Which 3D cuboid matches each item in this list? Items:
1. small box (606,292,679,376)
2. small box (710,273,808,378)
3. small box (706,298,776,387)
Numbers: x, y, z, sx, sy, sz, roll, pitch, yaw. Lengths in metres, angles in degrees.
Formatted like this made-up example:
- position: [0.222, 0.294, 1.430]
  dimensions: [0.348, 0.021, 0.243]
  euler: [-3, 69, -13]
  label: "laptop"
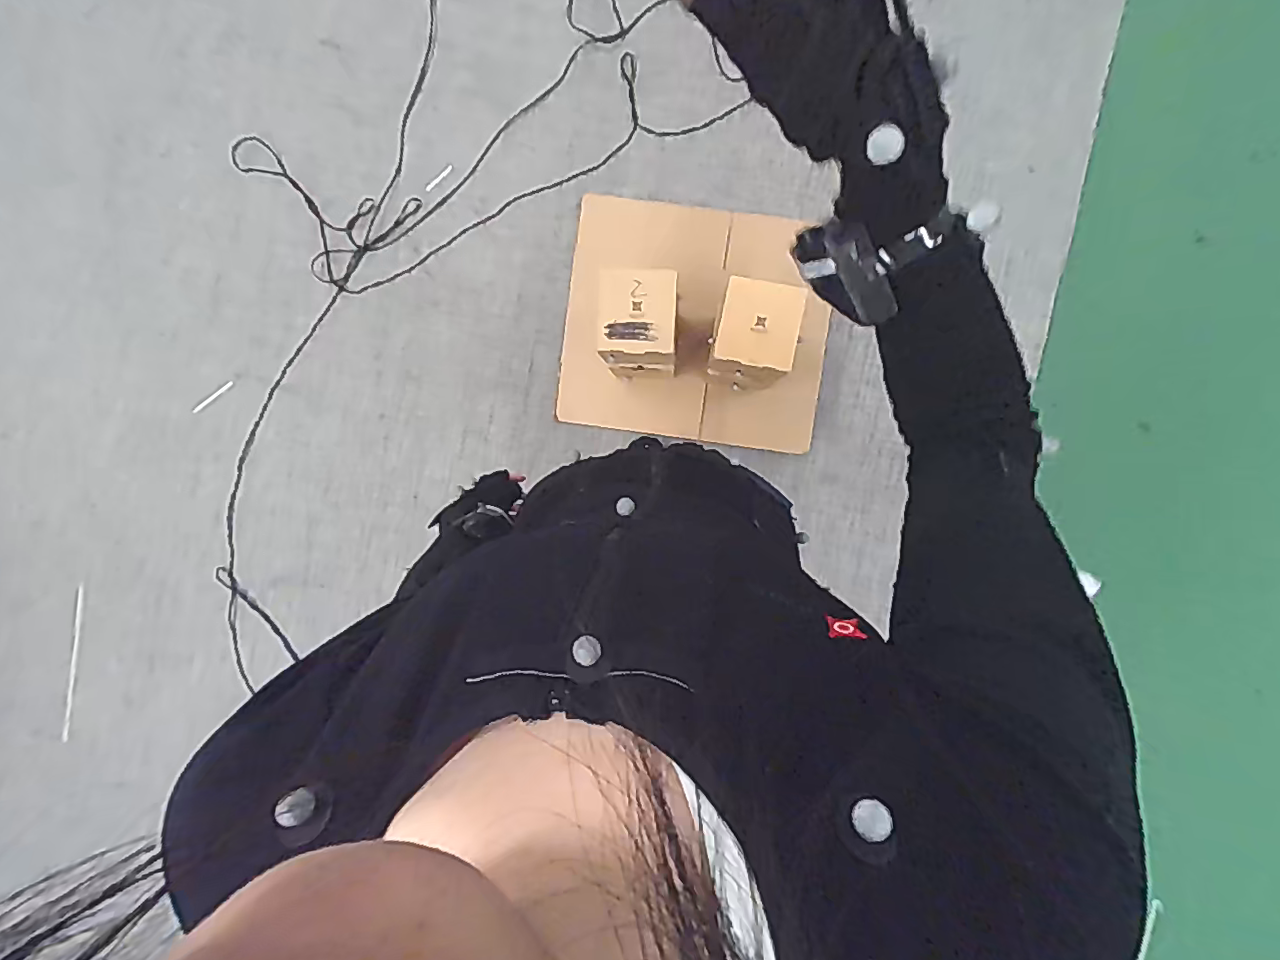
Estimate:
- position: [0.010, -0.361, 1.364]
  dimensions: [0.168, 0.176, 0.179]
  euler: [4, 94, 3]
  label: "small box"
- position: [0.253, -0.332, 1.193]
  dimensions: [0.168, 0.176, 0.179]
  euler: [11, 95, 3]
  label: "small box"
- position: [0.260, -0.337, 1.355]
  dimensions: [0.168, 0.176, 0.179]
  euler: [8, 95, 4]
  label: "small box"
